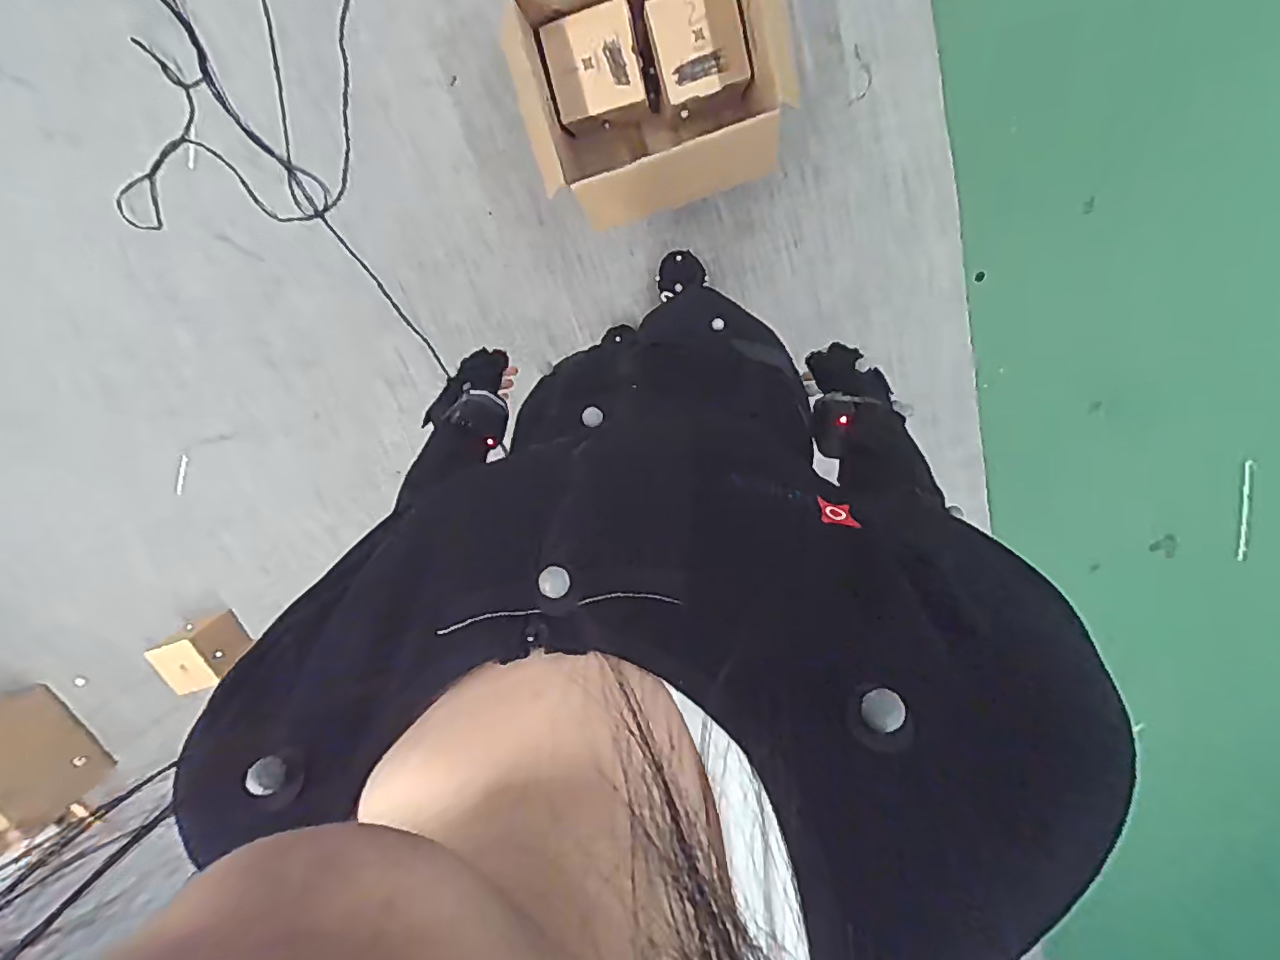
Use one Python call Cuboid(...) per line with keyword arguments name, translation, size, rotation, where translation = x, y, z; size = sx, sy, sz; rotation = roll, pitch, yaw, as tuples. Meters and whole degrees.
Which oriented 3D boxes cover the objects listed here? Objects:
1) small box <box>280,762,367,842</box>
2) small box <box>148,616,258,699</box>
Cuboid(name="small box", translation=(-1.131, 1.154, 1.946), size=(0.179, 0.176, 0.168), rotation=(-18, 110, 9))
Cuboid(name="small box", translation=(-1.380, 0.556, 1.721), size=(0.168, 0.176, 0.179), rotation=(-18, 110, 9))
